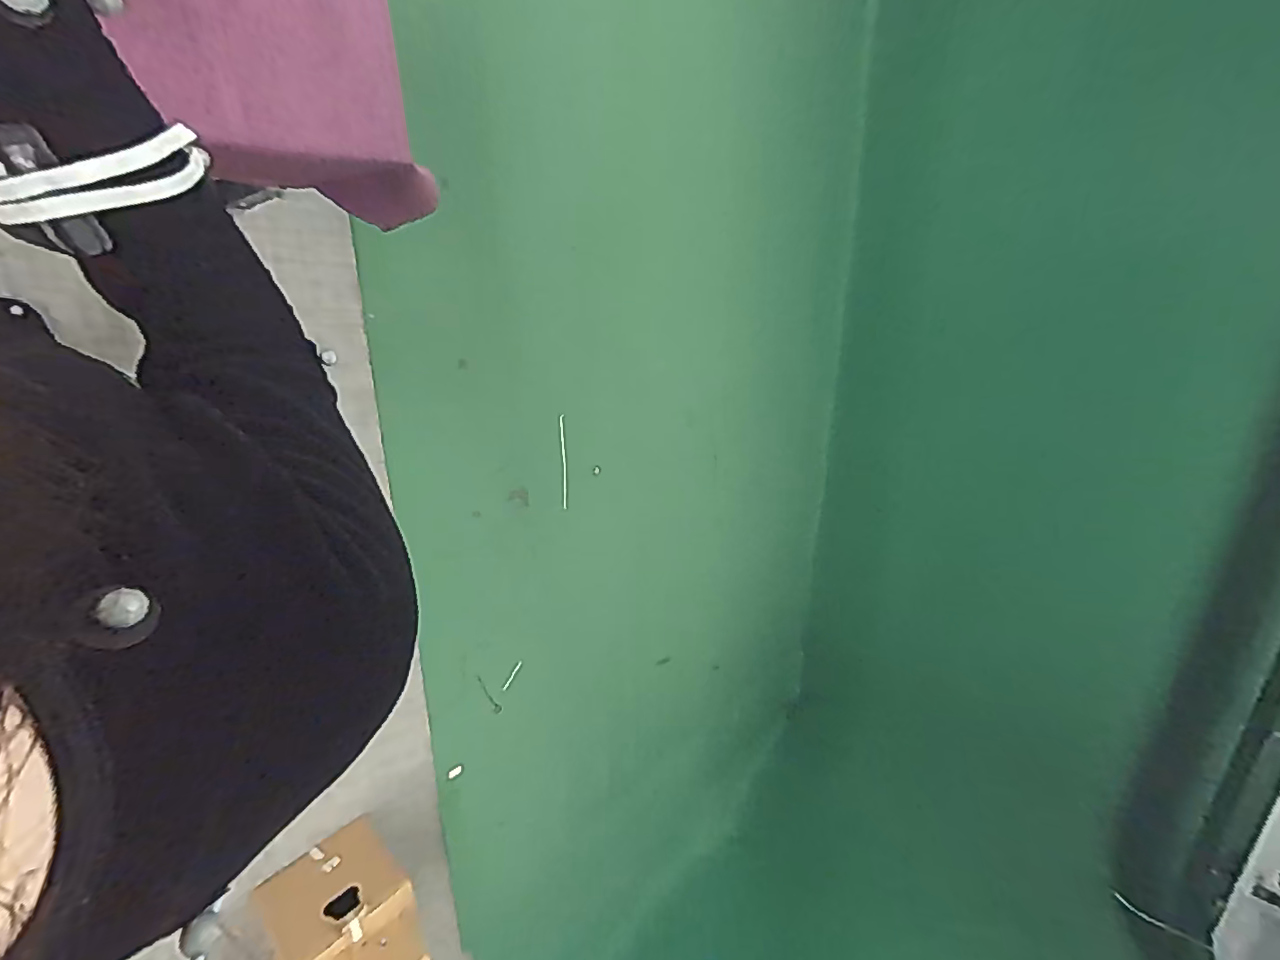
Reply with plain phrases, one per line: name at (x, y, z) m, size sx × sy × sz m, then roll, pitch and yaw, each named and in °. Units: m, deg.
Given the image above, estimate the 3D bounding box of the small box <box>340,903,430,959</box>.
small box at (-0.685, 1.305, 1.449) m, size 0.168 × 0.176 × 0.179 m, roll -8°, pitch 108°, yaw -50°
